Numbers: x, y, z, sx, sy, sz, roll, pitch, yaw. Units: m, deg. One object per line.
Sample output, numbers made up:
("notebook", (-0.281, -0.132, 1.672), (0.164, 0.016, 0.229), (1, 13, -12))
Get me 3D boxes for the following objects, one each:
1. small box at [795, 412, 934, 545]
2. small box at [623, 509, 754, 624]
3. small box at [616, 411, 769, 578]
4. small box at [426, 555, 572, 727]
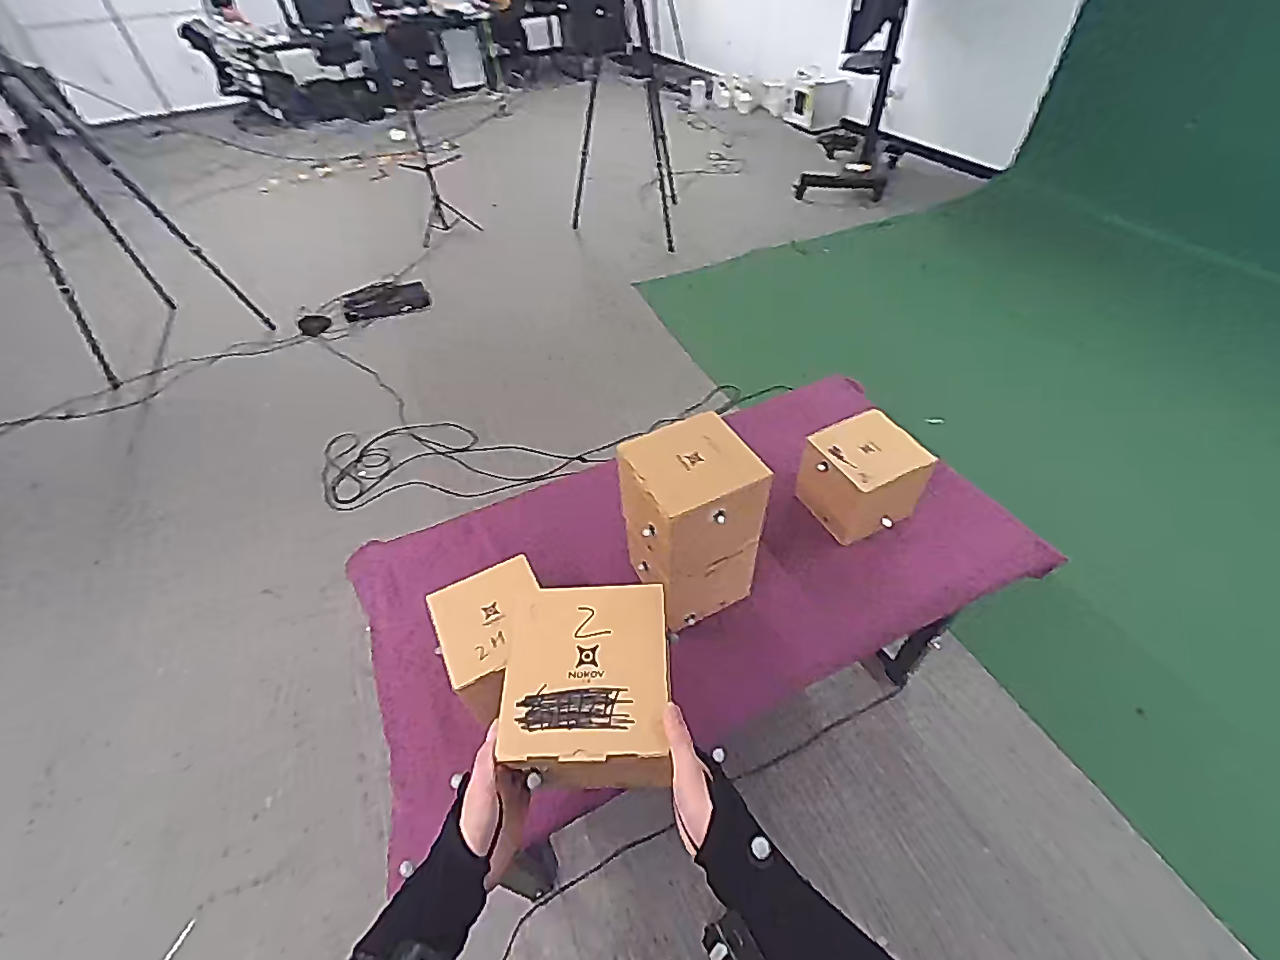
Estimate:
("small box", (0.435, -0.003, 1.079), (0.179, 0.176, 0.168), (-21, 49, -16))
("small box", (0.084, 0.134, 0.974), (0.168, 0.176, 0.179), (-22, 49, -16))
("small box", (0.078, 0.026, 0.853), (0.179, 0.176, 0.168), (-21, 50, -17))
("small box", (-0.223, 0.260, 0.874), (0.168, 0.176, 0.179), (-23, 50, -17))
